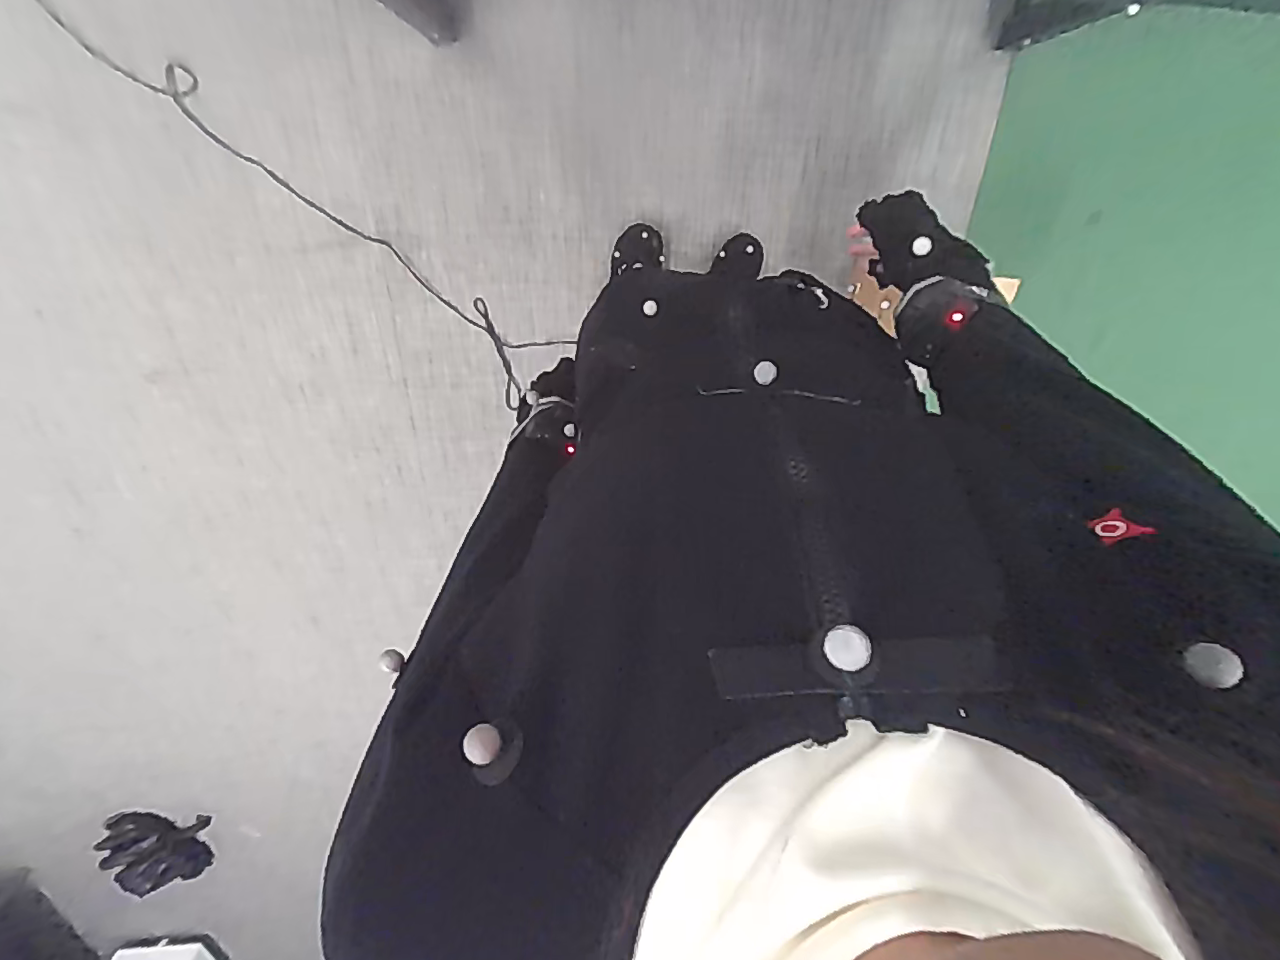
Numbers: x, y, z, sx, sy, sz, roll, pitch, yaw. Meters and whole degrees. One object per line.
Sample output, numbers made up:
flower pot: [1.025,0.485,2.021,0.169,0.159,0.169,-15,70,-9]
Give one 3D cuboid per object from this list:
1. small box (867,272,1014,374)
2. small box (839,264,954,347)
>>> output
small box: [0.595,-0.323,1.095,0.179,0.176,0.168,4,116,-3]
small box: [0.586,-0.398,1.241,0.179,0.176,0.168,4,116,-2]
